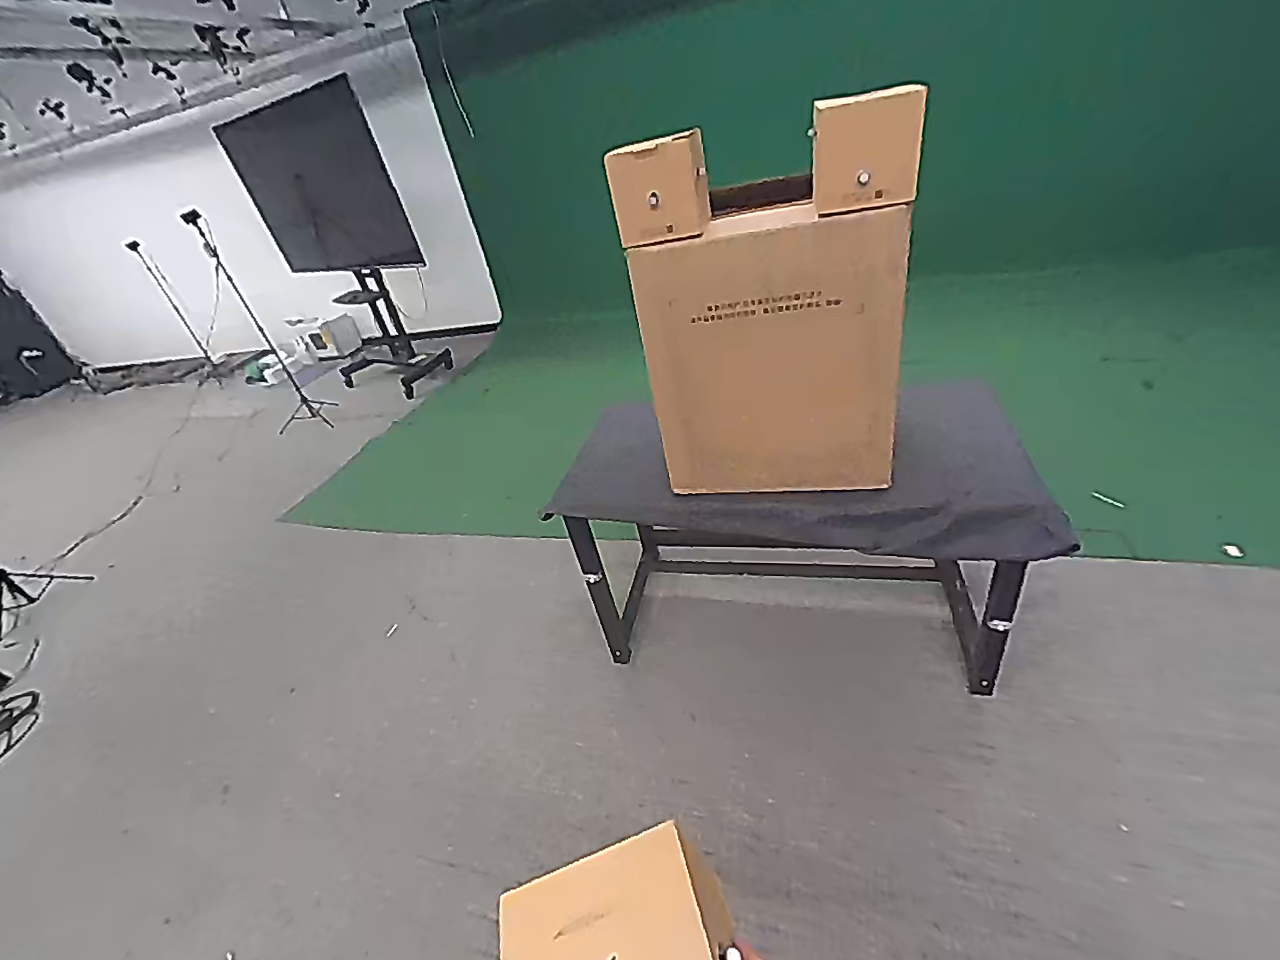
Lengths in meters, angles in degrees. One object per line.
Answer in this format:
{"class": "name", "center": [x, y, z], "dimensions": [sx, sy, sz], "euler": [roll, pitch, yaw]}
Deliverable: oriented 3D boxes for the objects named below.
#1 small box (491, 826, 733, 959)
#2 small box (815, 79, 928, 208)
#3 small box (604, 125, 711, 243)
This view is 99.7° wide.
{"class": "small box", "center": [-0.007, 0.431, 0.442], "dimensions": [0.168, 0.176, 0.179], "euler": [-23, 37, 0]}
{"class": "small box", "center": [0.407, -0.606, 0.979], "dimensions": [0.168, 0.176, 0.179], "euler": [-1, 37, 16]}
{"class": "small box", "center": [0.045, -0.592, 1.092], "dimensions": [0.168, 0.176, 0.179], "euler": [-3, 36, 18]}
